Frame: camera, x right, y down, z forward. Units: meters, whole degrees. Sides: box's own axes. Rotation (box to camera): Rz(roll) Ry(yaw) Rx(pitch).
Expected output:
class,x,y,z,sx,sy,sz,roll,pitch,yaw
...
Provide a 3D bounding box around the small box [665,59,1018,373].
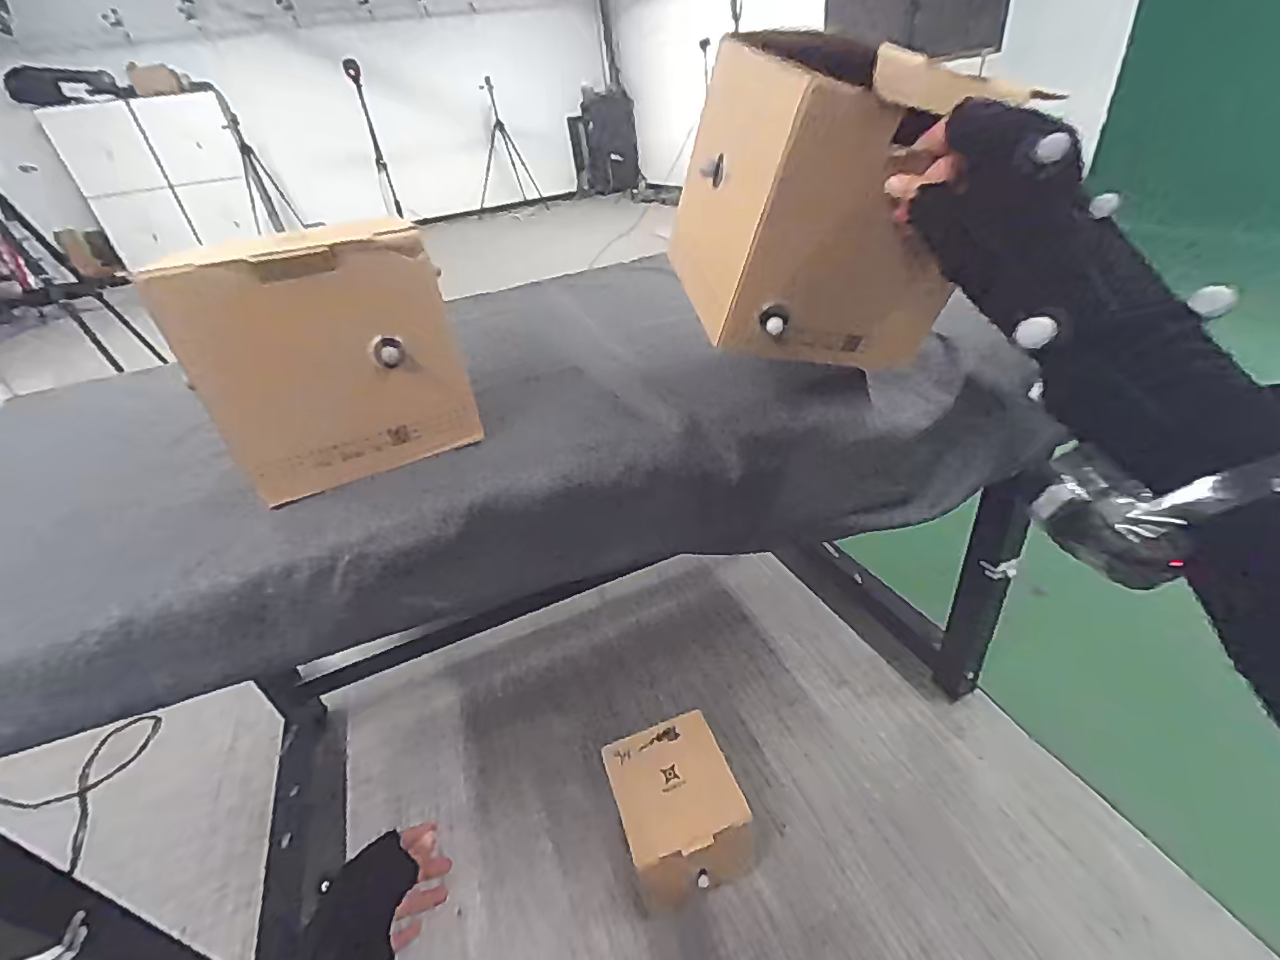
class,x,y,z,sx,sy,sz,roll,pitch,yaw
small box,0.127,-0.200,0.424,0.168,0.176,0.179,2,42,-14

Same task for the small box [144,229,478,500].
class,x,y,z,sx,sy,sz,roll,pitch,yaw
small box,-0.249,-0.101,0.451,0.168,0.176,0.179,-20,32,-20
